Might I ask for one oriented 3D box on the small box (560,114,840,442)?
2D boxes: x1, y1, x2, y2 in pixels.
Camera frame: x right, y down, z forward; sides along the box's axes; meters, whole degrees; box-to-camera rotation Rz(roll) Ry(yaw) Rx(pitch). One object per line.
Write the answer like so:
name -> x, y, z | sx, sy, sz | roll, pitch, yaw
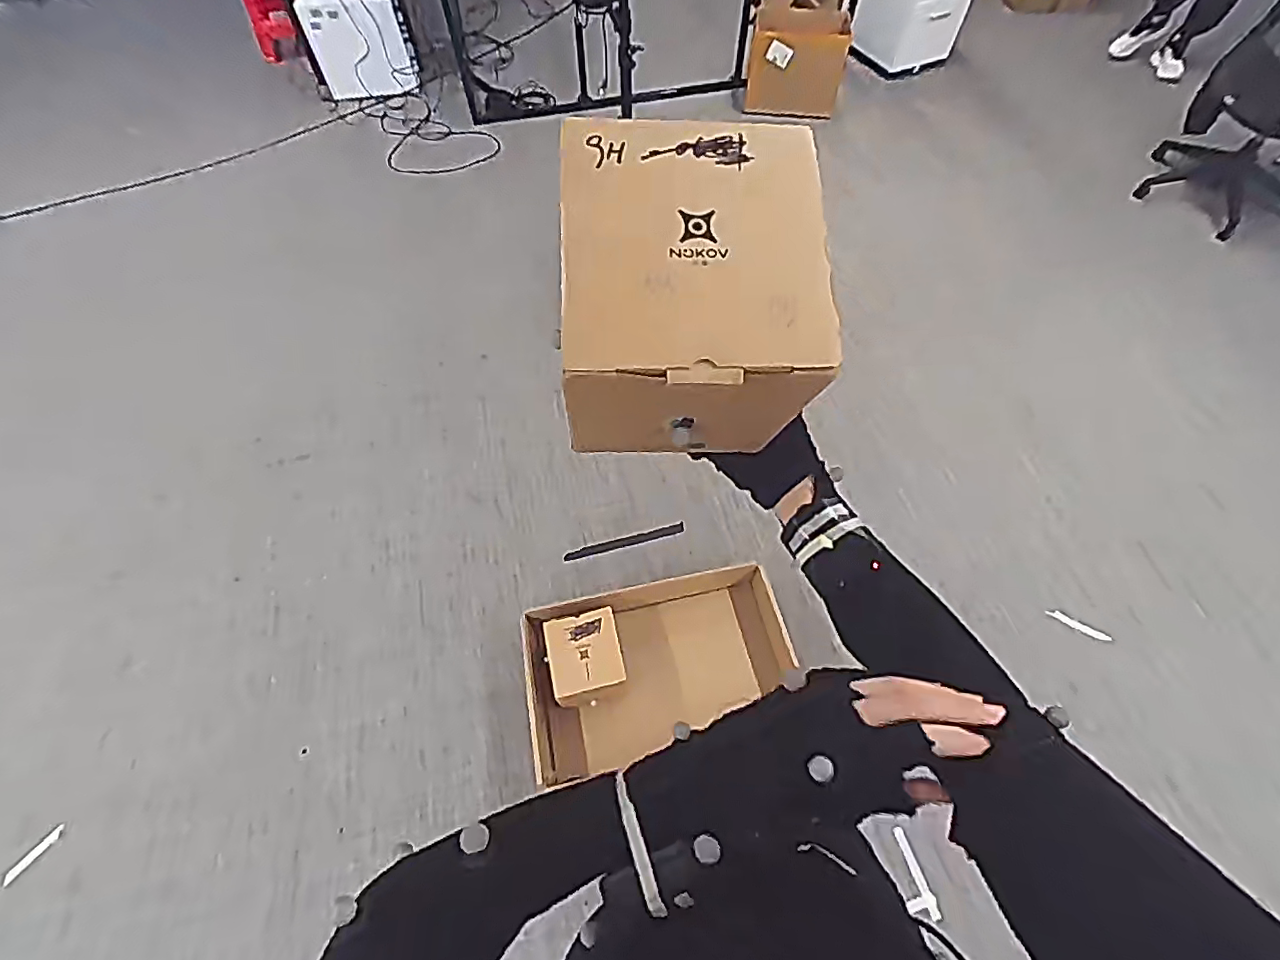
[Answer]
small box -> 0.030, -0.130, 0.405 | 0.168, 0.176, 0.179 | -1, 78, -5
